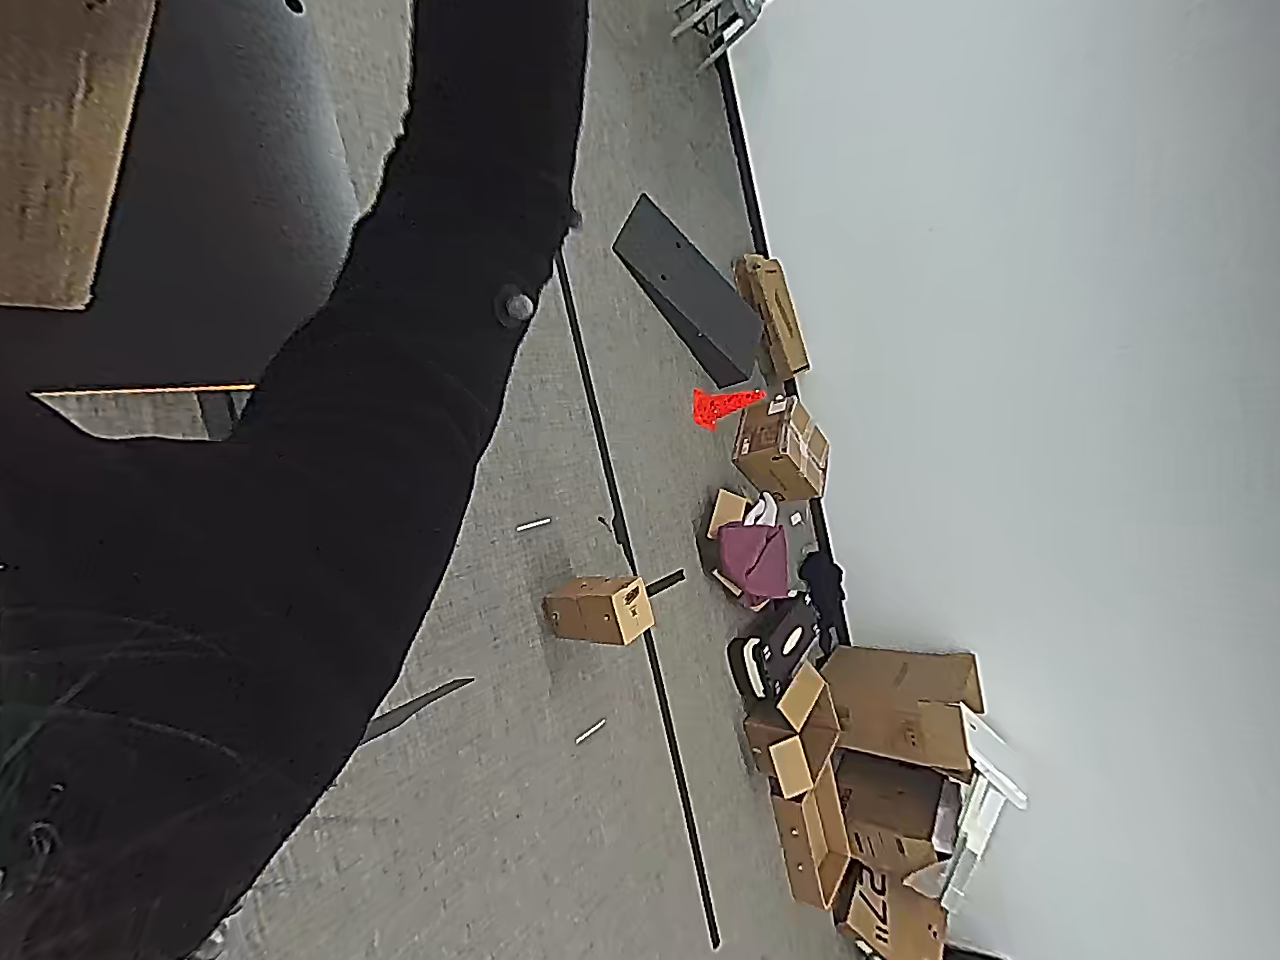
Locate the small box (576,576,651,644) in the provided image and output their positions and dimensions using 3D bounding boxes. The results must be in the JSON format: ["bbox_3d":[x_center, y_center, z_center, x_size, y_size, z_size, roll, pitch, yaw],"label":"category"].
[{"bbox_3d":[-0.093,0.438,1.838,0.168,0.176,0.179,-22,100,-49],"label":"small box"}]

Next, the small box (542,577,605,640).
[{"bbox_3d":[-0.220,0.456,1.942,0.179,0.176,0.168,-25,101,-48],"label":"small box"}]
